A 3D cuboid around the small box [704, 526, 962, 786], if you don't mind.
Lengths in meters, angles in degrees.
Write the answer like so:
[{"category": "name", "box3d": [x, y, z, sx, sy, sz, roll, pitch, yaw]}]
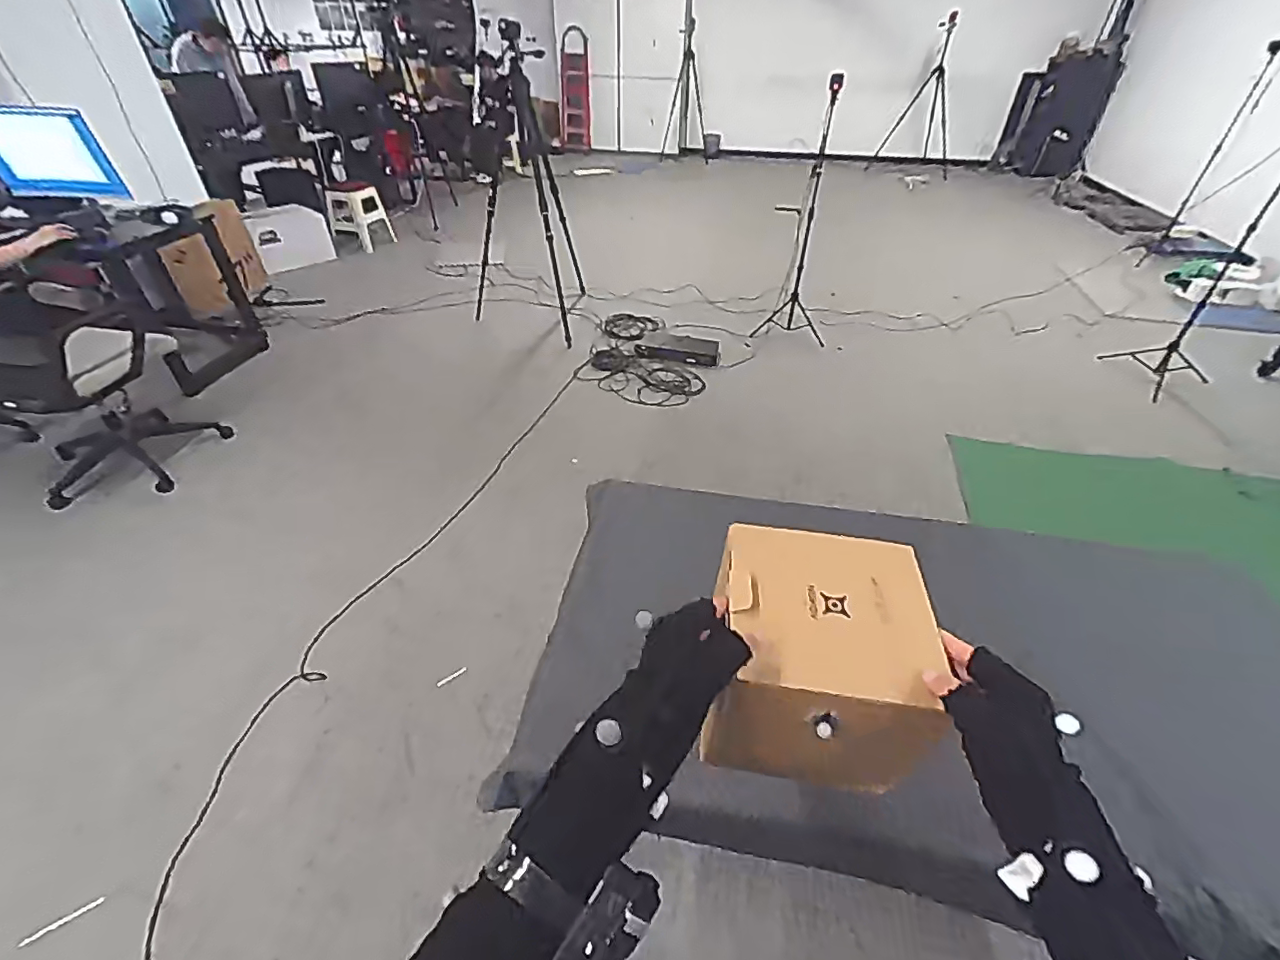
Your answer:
[{"category": "small box", "box3d": [0.159, 0.168, 0.515, 0.179, 0.176, 0.168, 8, 42, 2]}]
